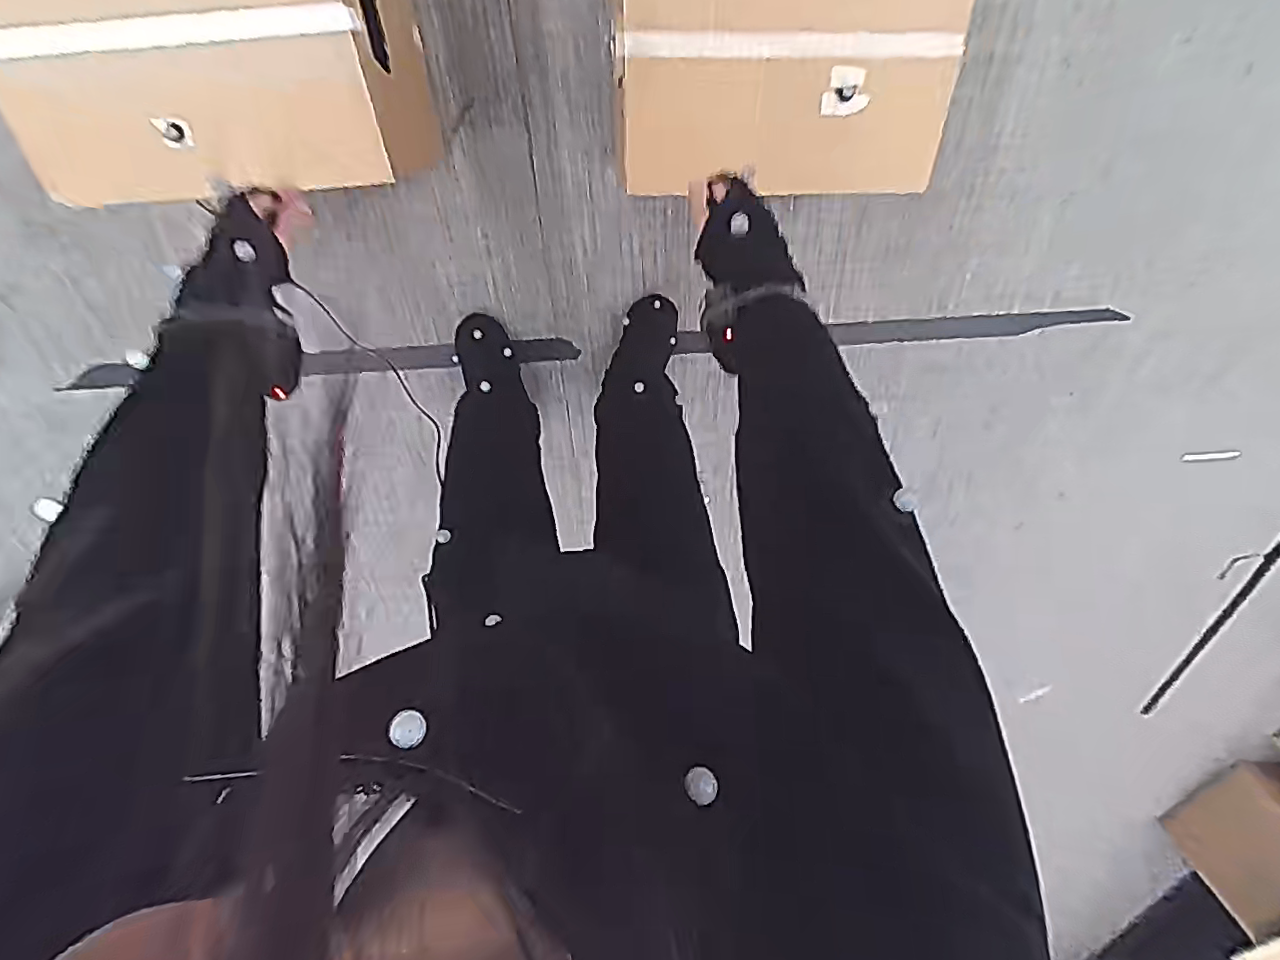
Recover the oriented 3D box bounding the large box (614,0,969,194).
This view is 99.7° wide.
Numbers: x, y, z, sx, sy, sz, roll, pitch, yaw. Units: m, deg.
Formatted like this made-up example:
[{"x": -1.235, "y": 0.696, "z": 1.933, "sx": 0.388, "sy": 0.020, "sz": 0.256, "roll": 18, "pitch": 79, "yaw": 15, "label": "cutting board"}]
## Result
[{"x": 0.172, "y": -0.597, "z": 0.764, "sx": 0.408, "sy": 0.320, "sz": 0.320, "roll": -3, "pitch": 124, "yaw": -5, "label": "large box"}]
